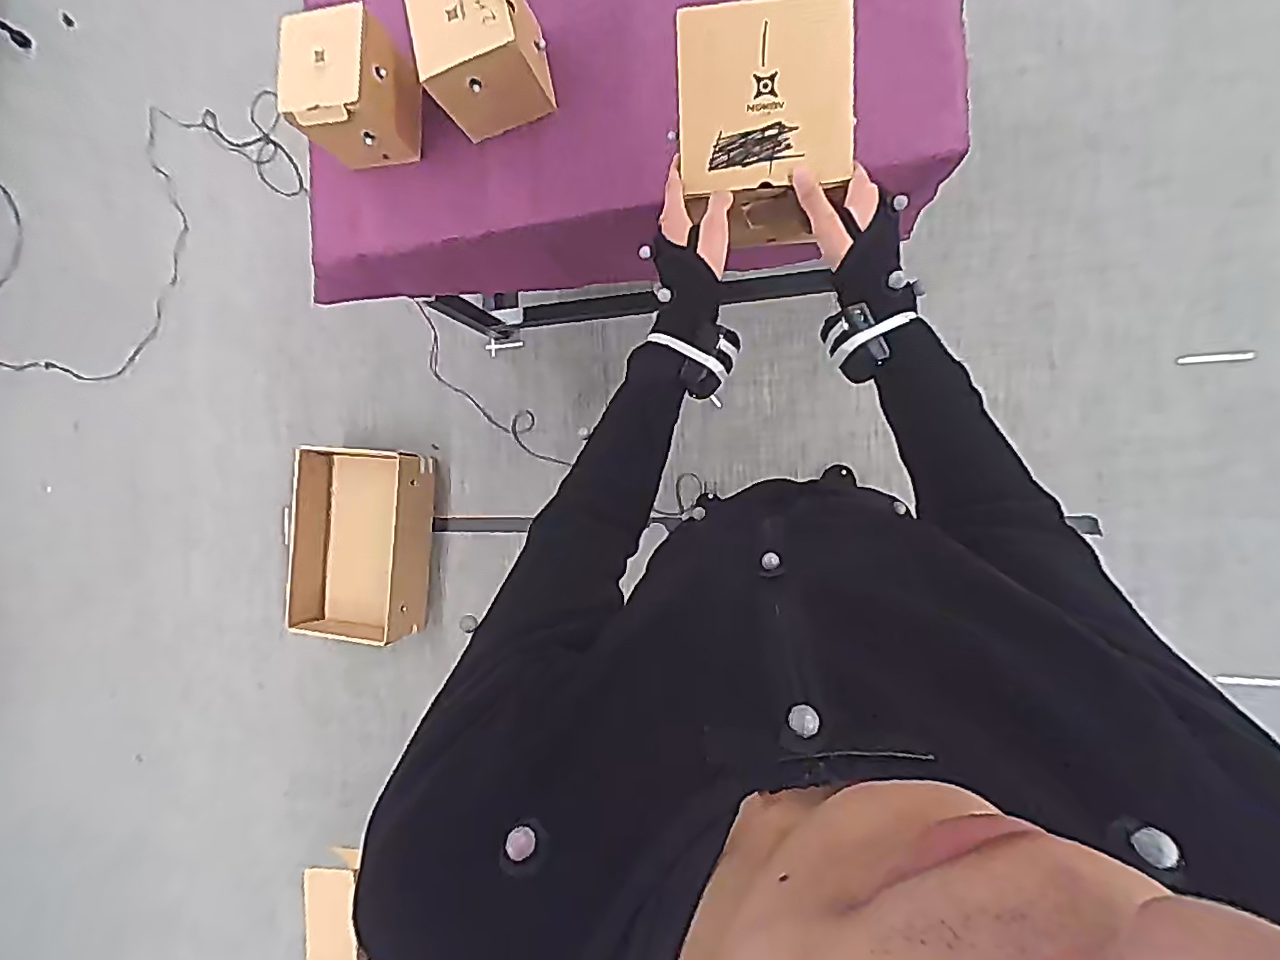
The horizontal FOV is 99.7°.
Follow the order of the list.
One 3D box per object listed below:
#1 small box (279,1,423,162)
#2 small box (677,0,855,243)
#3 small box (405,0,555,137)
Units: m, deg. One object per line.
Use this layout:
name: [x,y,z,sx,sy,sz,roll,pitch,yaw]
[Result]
small box: [-0.522,-0.712,0.993,0.168,0.176,0.179,2,90,13]
small box: [0.128,-0.373,0.592,0.168,0.176,0.179,-1,94,7]
small box: [-0.269,-0.737,0.931,0.179,0.176,0.168,-12,87,13]
